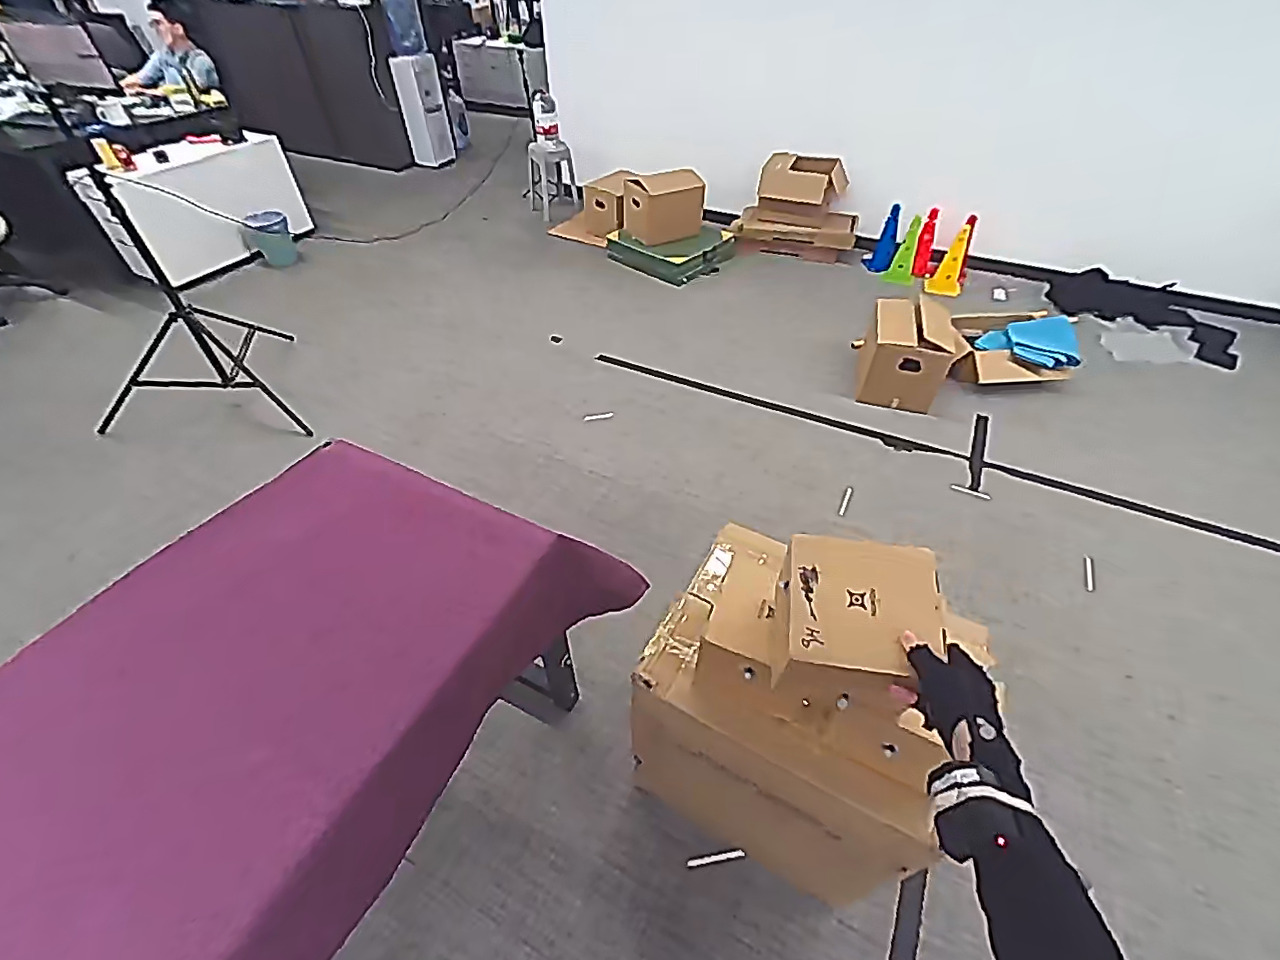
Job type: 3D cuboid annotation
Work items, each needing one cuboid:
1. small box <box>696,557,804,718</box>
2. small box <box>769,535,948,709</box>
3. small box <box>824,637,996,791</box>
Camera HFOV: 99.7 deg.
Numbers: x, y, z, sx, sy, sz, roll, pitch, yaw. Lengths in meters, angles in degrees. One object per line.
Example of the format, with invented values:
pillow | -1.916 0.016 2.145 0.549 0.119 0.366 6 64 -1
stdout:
small box | 0.200 0.261 0.887 0.179 0.176 0.168 18 50 16
small box | 0.272 0.192 0.714 0.179 0.176 0.168 5 55 9
small box | 0.397 0.335 0.810 0.179 0.176 0.168 19 50 22
